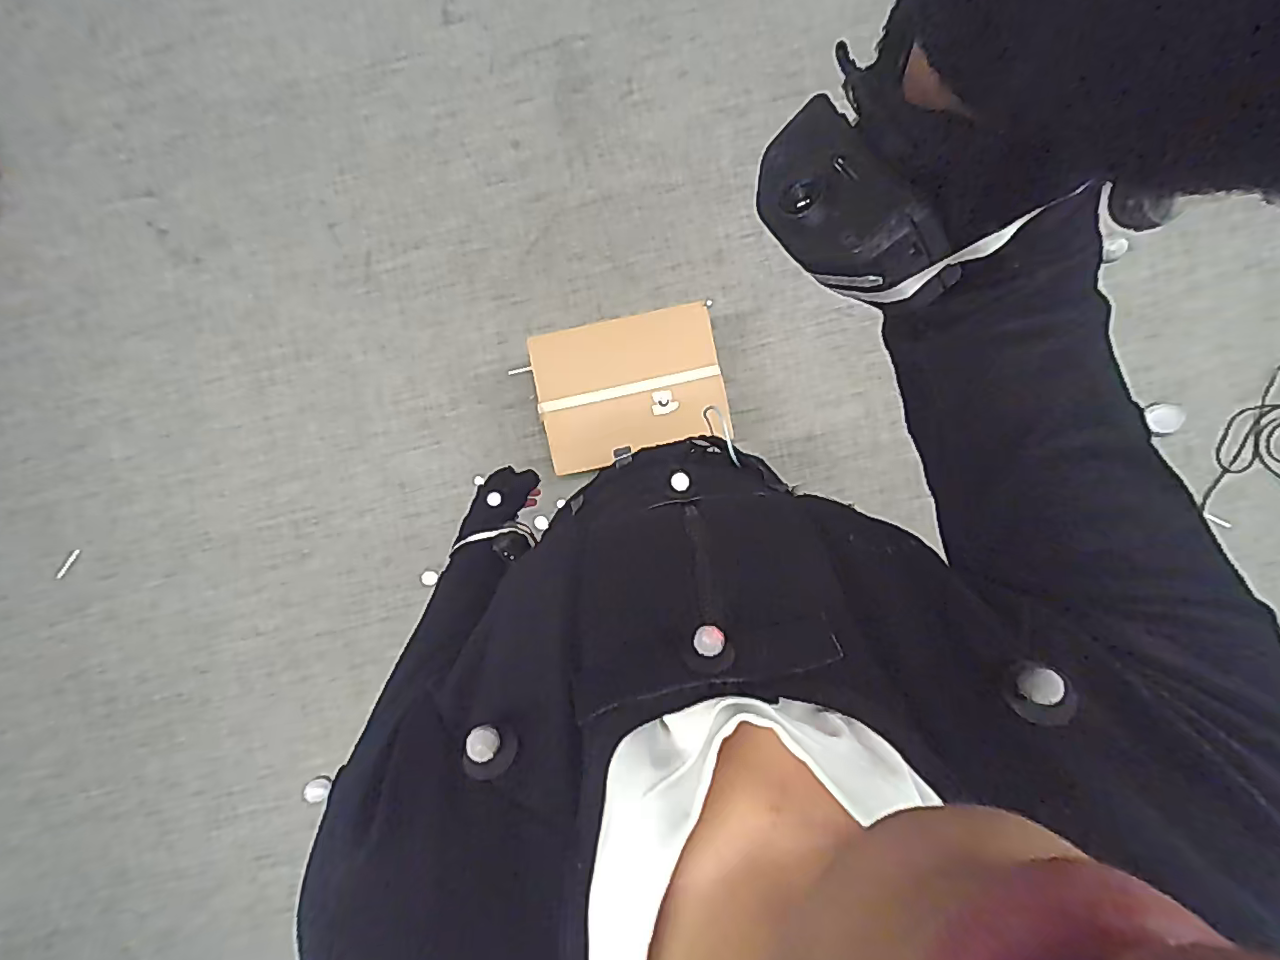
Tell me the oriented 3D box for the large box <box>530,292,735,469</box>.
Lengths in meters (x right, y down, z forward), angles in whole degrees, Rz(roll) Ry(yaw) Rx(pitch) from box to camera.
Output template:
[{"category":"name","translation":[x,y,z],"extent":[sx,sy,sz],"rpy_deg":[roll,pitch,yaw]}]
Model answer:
[{"category":"large box","translation":[-0.016,-0.220,1.328],"extent":[0.408,0.320,0.320],"rpy_deg":[-12,93,1]}]
